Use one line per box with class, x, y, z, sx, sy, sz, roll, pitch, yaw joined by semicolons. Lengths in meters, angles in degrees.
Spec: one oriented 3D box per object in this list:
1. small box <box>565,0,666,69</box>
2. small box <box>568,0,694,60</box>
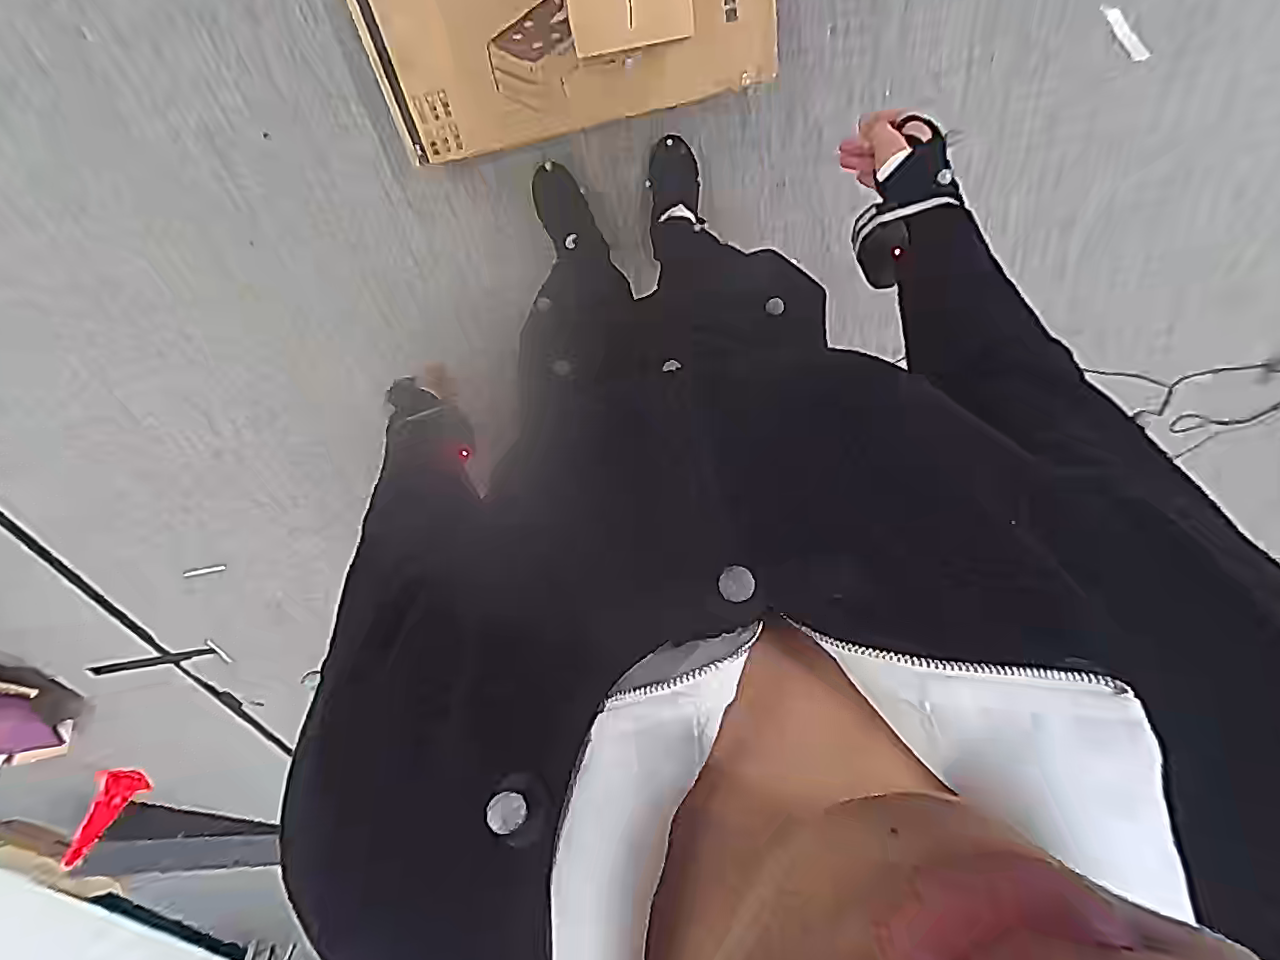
small box;-0.042;-0.802;0.884;0.168;0.176;0.179;-12;126;5
small box;-0.024;-0.708;0.750;0.168;0.176;0.179;-9;126;3
